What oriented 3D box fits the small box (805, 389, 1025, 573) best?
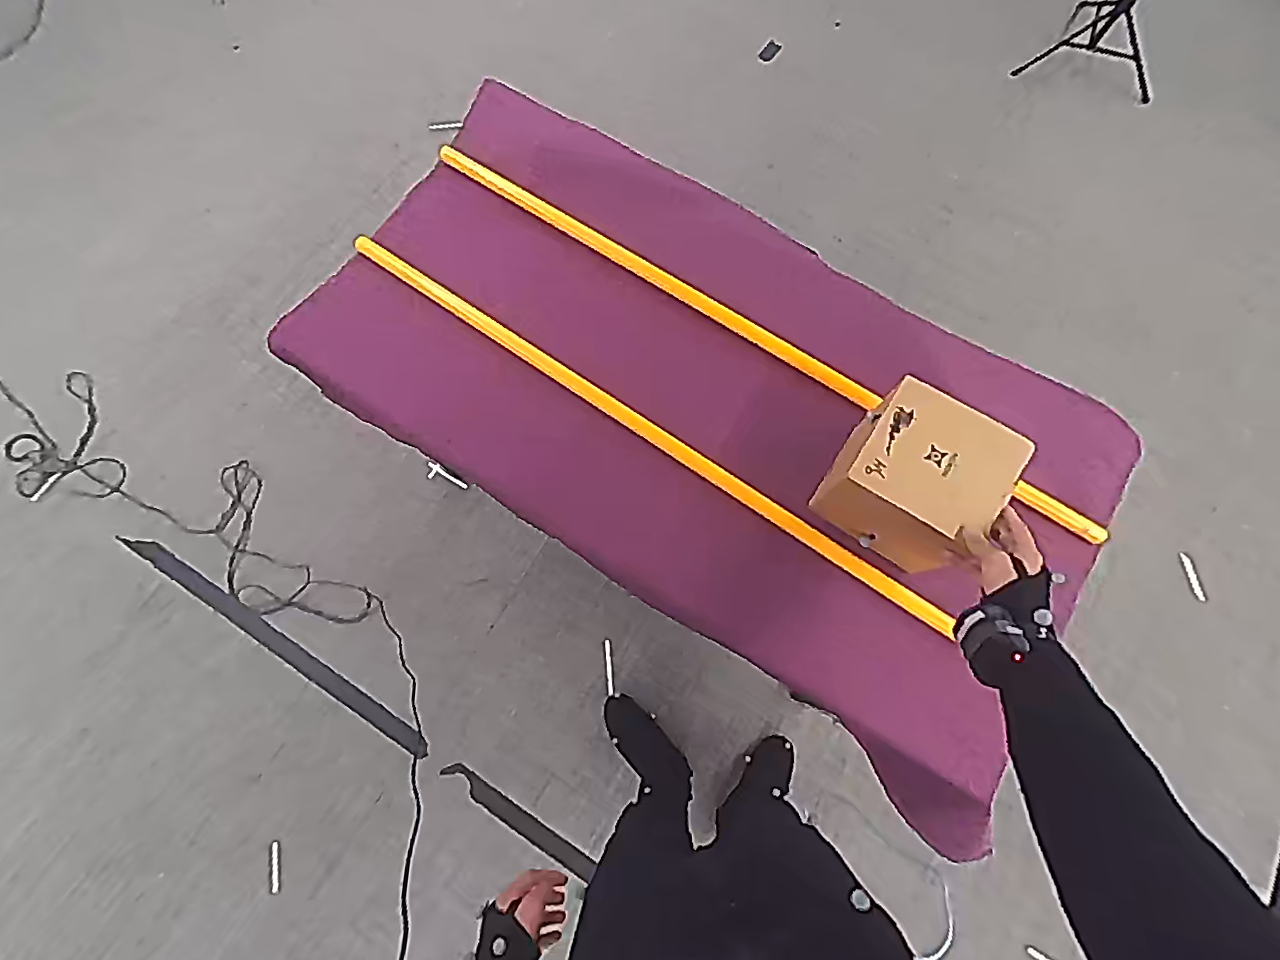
[{"bbox_3d":[0.358,0.013,0.736,0.179,0.176,0.168,34,77,9],"label":"small box"}]
